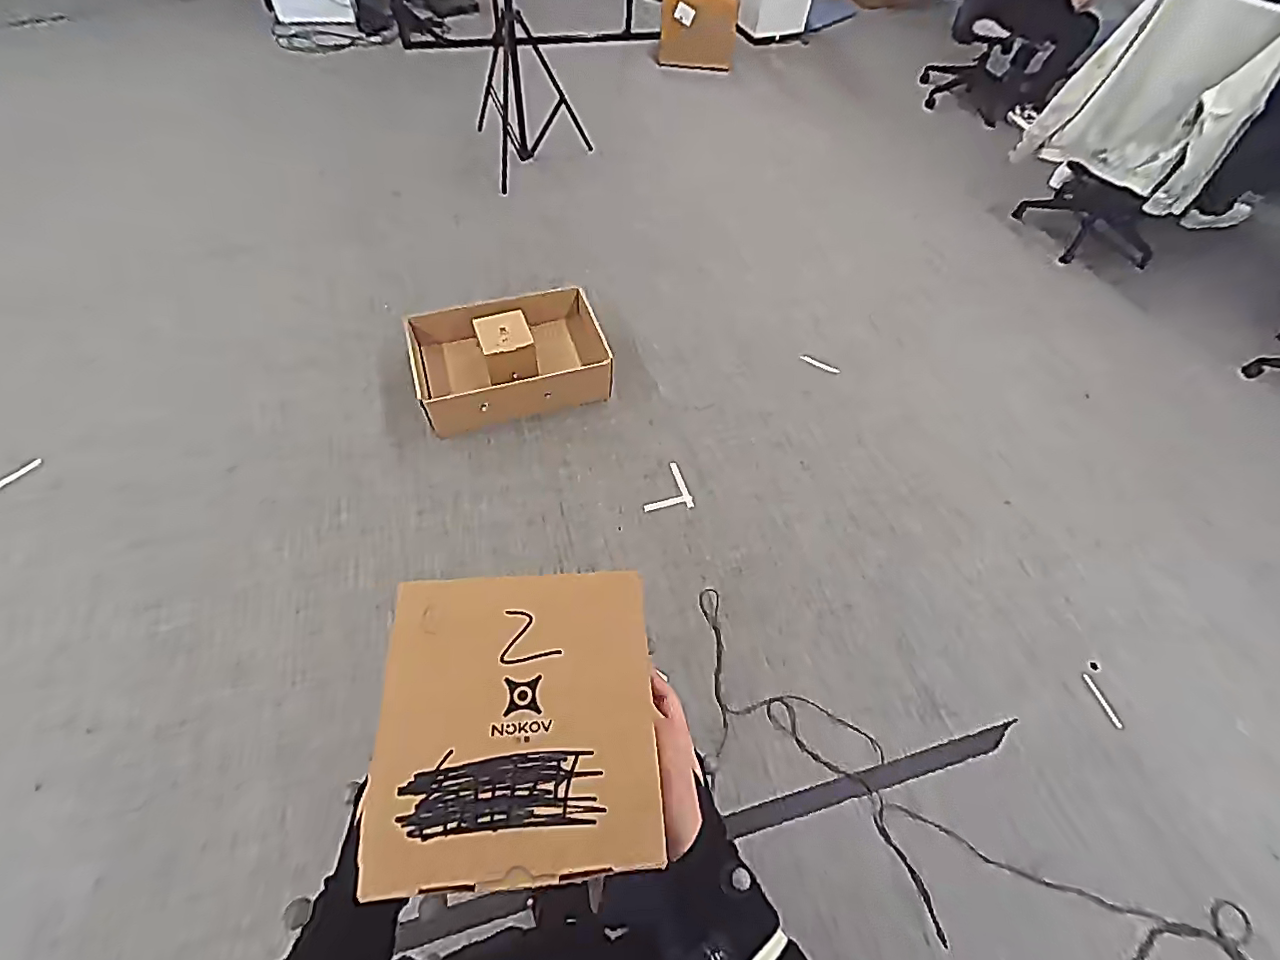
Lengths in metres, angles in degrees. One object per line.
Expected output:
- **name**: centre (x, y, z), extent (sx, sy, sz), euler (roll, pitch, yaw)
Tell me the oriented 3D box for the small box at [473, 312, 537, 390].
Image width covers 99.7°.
- **small box**: centre (-0.453, -0.434, 1.827), extent (0.168, 0.176, 0.179), euler (-17, 60, -14)
